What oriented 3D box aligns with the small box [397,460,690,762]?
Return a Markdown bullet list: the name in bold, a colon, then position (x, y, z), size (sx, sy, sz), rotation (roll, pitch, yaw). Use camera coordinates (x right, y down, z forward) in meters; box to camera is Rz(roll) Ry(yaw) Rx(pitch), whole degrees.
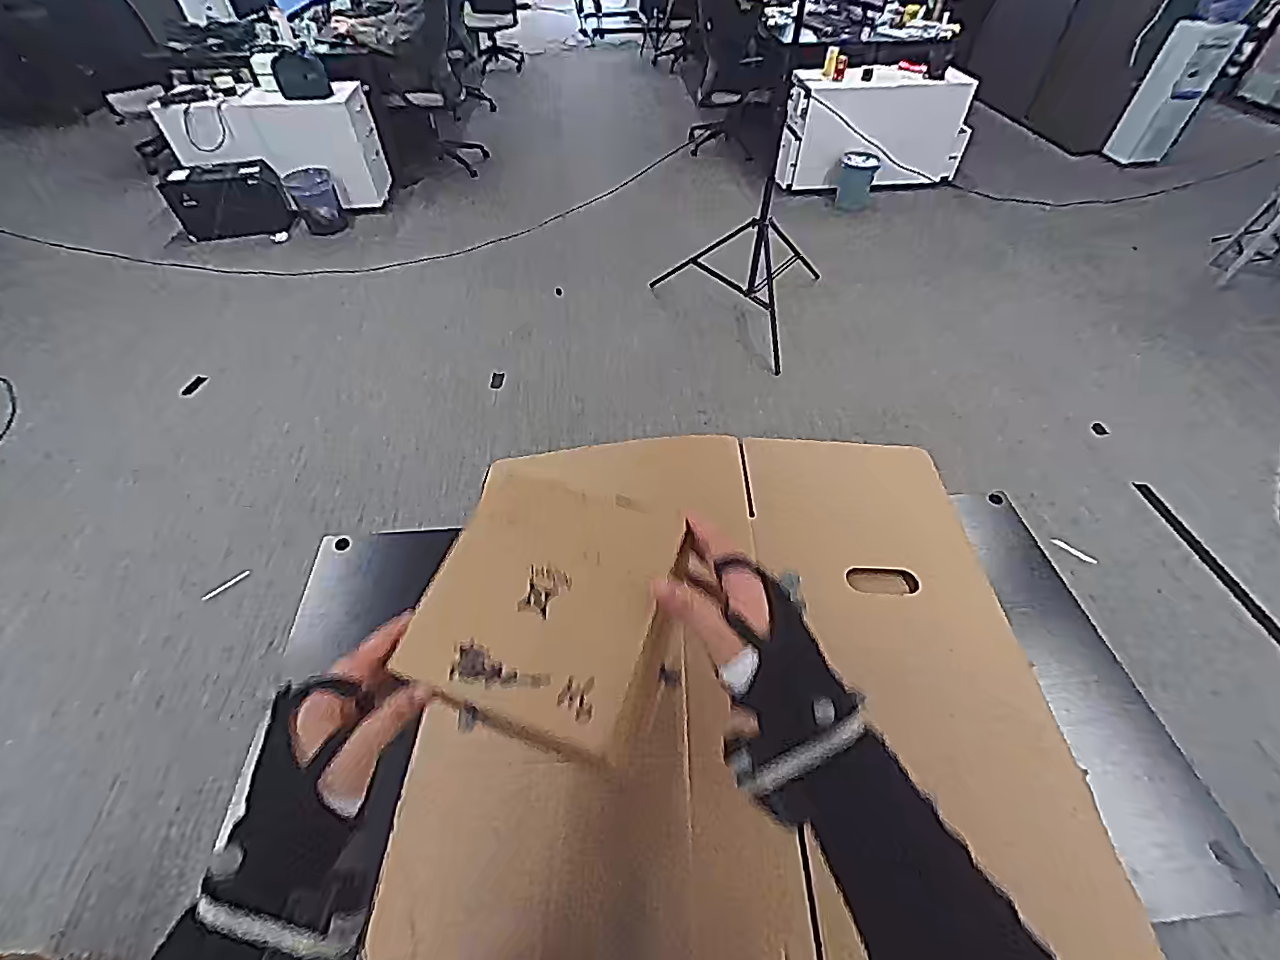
- **small box**: position (-0.060, 0.114, 0.462), size (0.168, 0.176, 0.179), rotation (13, 58, 15)
